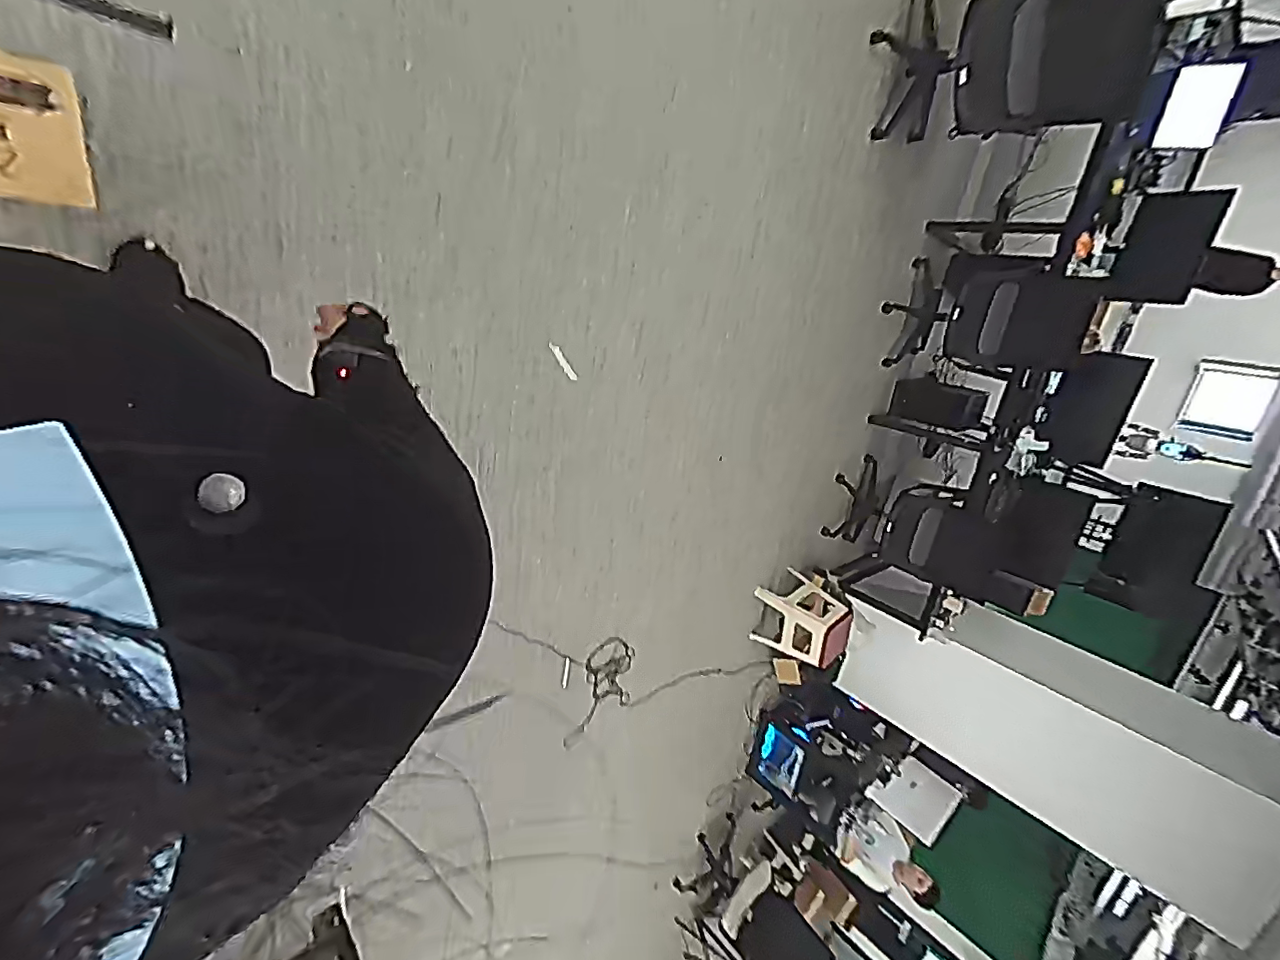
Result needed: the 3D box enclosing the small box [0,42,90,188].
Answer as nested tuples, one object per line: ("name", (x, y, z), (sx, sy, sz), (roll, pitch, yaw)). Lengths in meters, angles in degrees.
("small box", (-0.995, -0.569, 0.842), (0.168, 0.176, 0.179), (-13, 119, -41))
